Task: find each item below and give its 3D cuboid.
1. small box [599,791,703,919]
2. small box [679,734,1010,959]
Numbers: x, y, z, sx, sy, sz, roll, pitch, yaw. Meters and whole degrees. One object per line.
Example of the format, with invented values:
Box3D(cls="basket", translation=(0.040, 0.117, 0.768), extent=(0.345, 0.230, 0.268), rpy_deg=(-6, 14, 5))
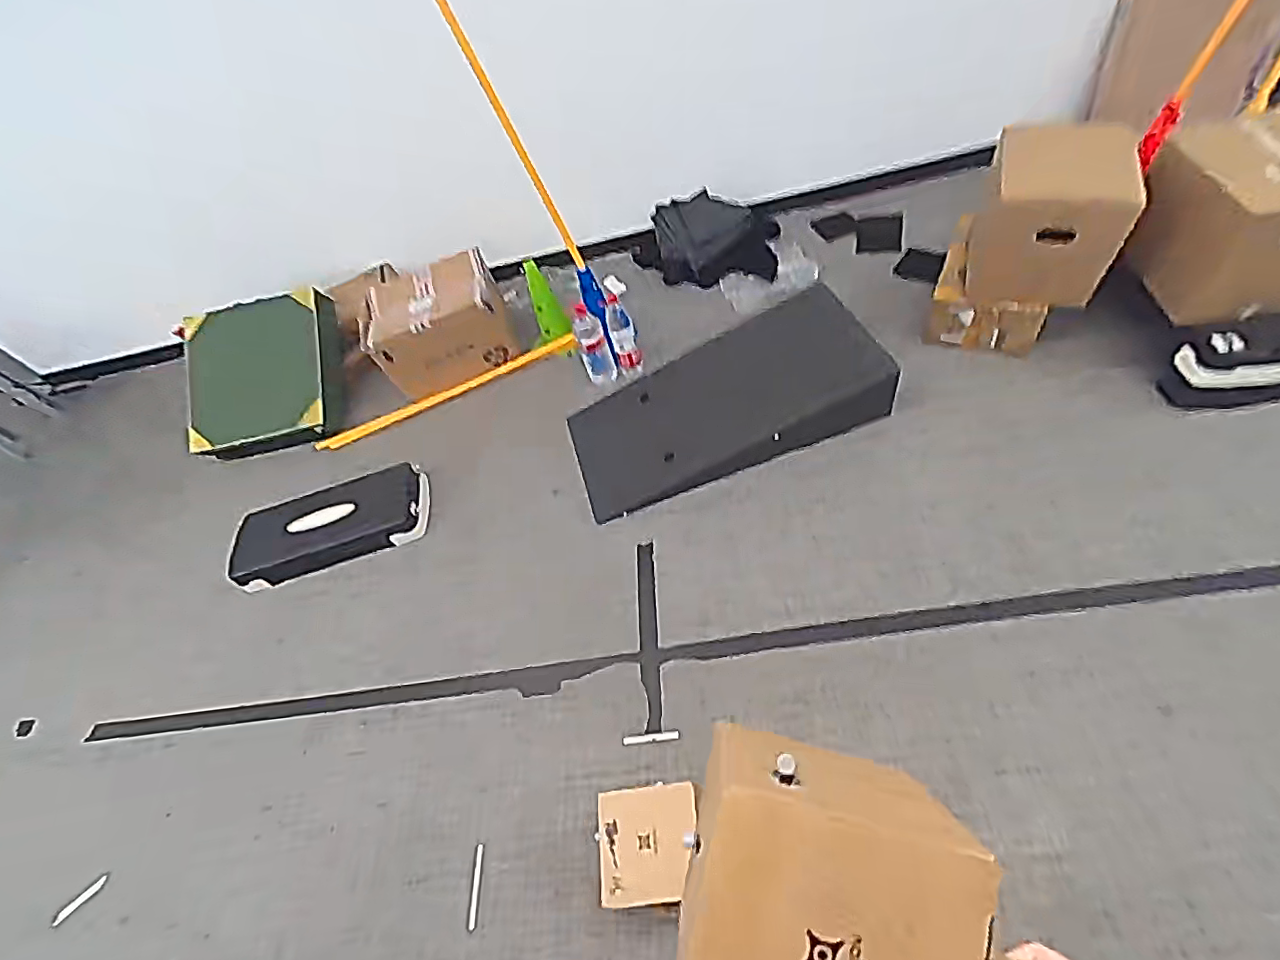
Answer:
Box3D(cls="small box", translation=(0.033, 0.658, 0.954), extent=(0.179, 0.176, 0.168), rpy_deg=(-10, 52, 6))
Box3D(cls="small box", translation=(0.127, 0.308, 0.399), extent=(0.179, 0.176, 0.168), rpy_deg=(12, 81, 8))
